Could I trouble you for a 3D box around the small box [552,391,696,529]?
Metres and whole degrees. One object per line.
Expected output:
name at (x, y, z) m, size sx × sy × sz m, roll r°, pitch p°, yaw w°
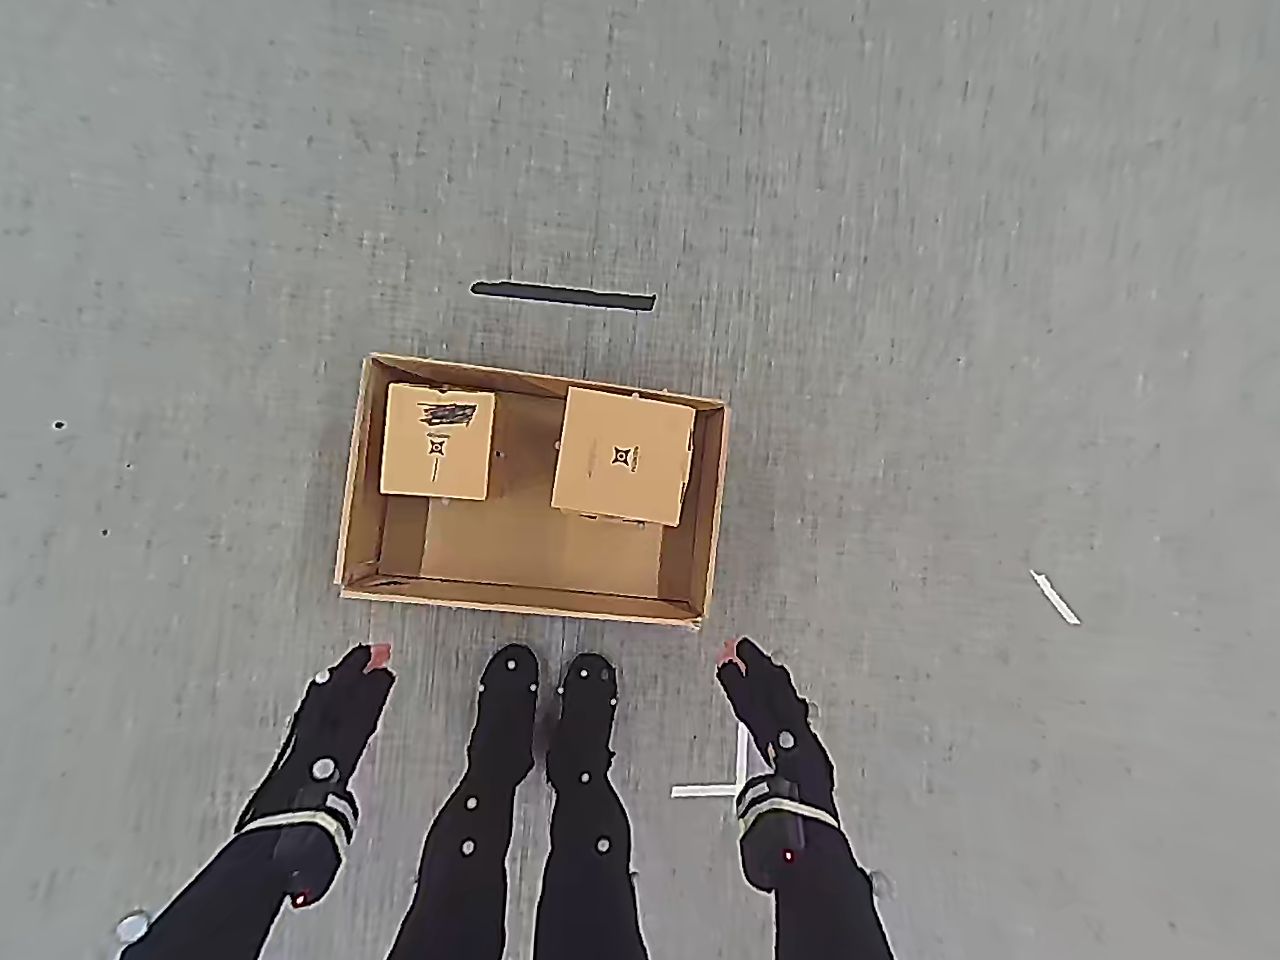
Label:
small box at (-0.026, -0.024, 0.805) m, size 0.179 × 0.176 × 0.168 m, roll 8°, pitch 86°, yaw -4°
